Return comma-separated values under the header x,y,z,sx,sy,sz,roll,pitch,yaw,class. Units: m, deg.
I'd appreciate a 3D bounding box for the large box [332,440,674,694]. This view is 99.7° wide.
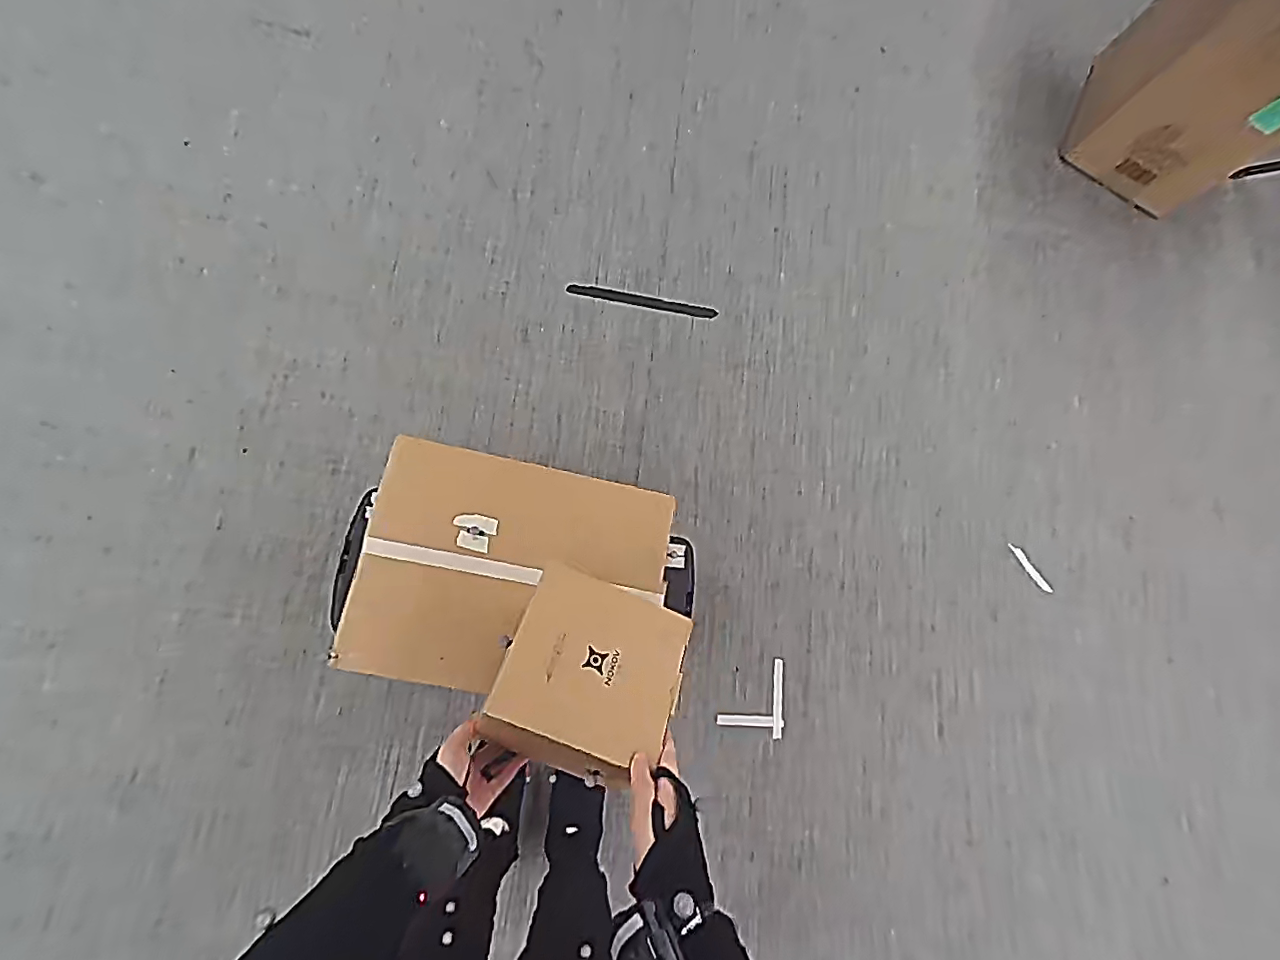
x,y,z,sx,sy,sz,roll,pitch,yaw,class
-0.188,0.158,0.873,0.408,0.320,0.320,13,76,-6,large box

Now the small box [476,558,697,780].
x,y,z,sx,sy,sz,roll,pitch,yaw,class
-0.063,0.217,0.601,0.179,0.176,0.168,25,54,-6,small box

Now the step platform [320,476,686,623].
x,y,z,sx,sy,sz,roll,pitch,yaw,class
-0.251,0.213,1.098,0.684,0.204,0.286,15,76,-6,step platform
